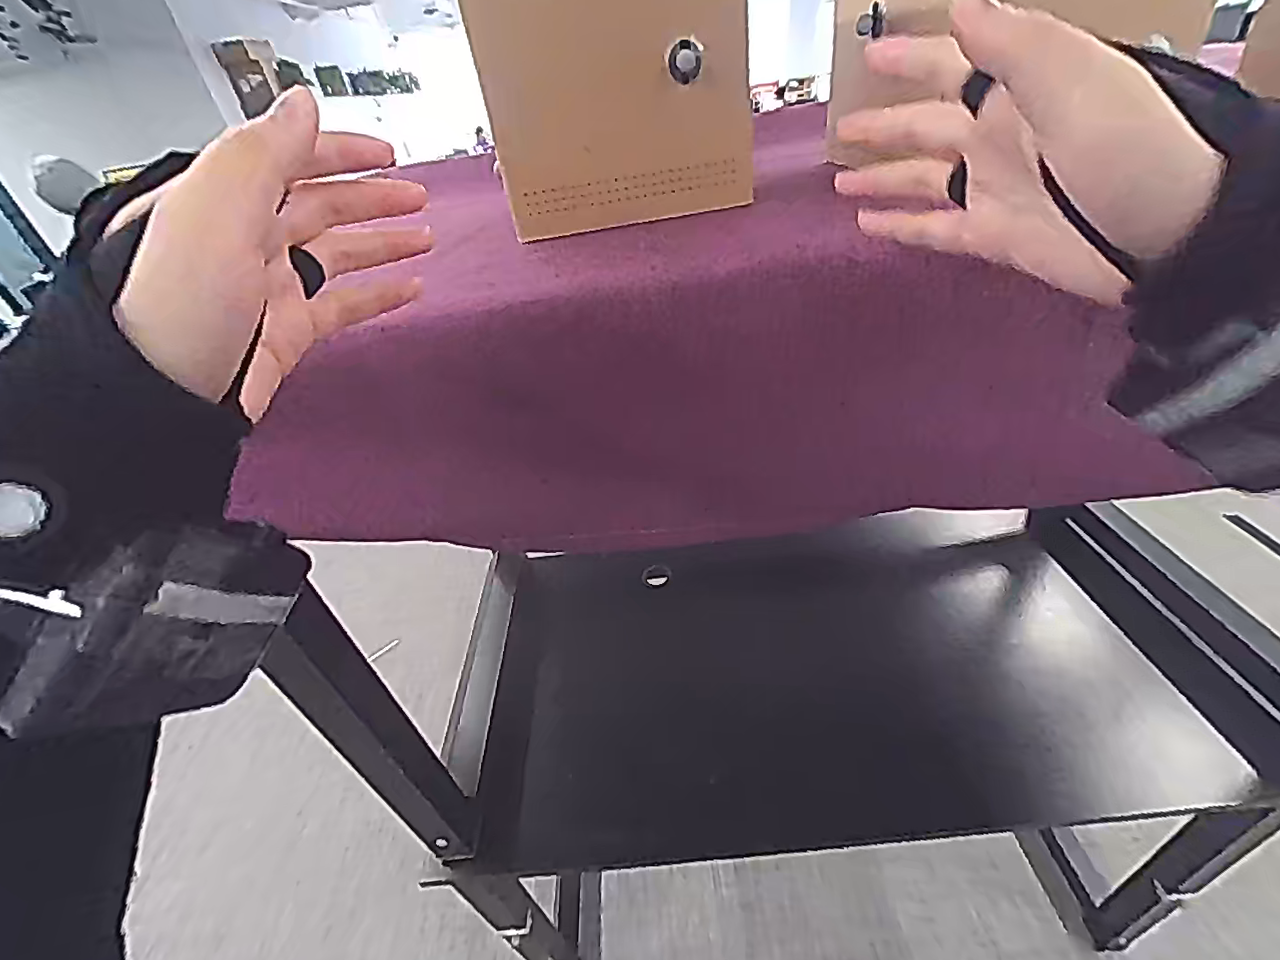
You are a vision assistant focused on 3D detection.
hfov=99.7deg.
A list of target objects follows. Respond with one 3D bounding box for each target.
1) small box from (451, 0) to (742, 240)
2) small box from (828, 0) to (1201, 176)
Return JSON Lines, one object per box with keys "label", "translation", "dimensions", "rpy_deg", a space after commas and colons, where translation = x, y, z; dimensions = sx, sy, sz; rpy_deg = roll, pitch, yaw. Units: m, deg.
{"label": "small box", "translation": [-0.024, -0.296, 0.406], "dimensions": [0.179, 0.176, 0.168], "rpy_deg": [-10, 35, 0]}
{"label": "small box", "translation": [0.246, -0.322, 0.377], "dimensions": [0.168, 0.176, 0.179], "rpy_deg": [-10, 35, -1]}
